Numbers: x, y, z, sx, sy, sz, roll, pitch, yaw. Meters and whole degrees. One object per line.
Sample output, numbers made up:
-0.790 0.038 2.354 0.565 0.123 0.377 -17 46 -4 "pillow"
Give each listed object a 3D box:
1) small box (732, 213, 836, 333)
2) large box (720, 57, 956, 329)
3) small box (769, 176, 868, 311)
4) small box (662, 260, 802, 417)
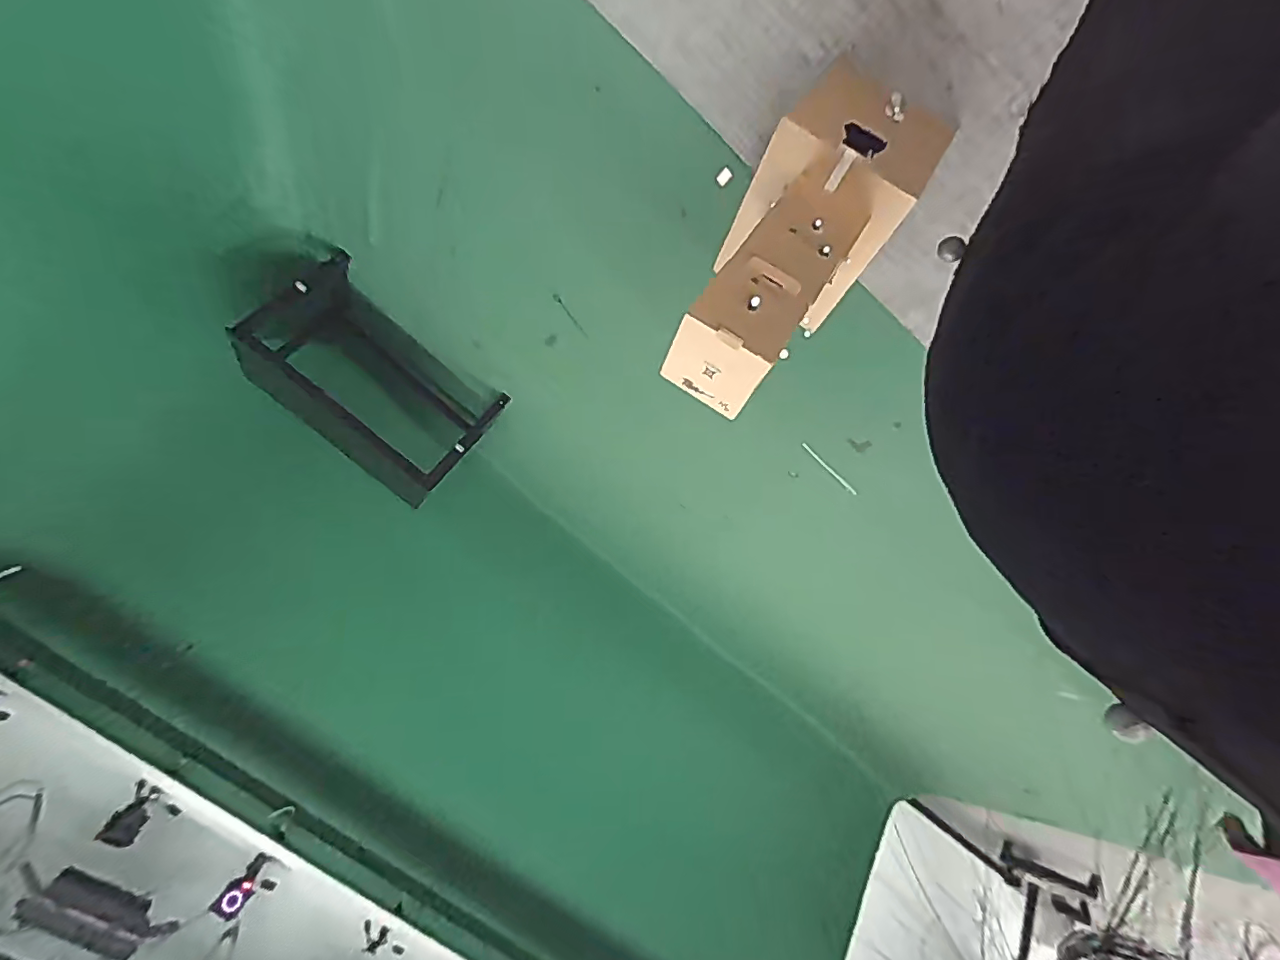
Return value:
0.253 -0.373 1.042 0.168 0.176 0.179 33 153 4 "small box"
0.444 -0.655 1.272 0.320 0.320 0.408 35 154 4 "large box"
0.339 -0.488 1.121 0.179 0.176 0.168 34 152 3 "small box"
0.167 -0.254 0.969 0.168 0.176 0.179 34 151 3 "small box"
